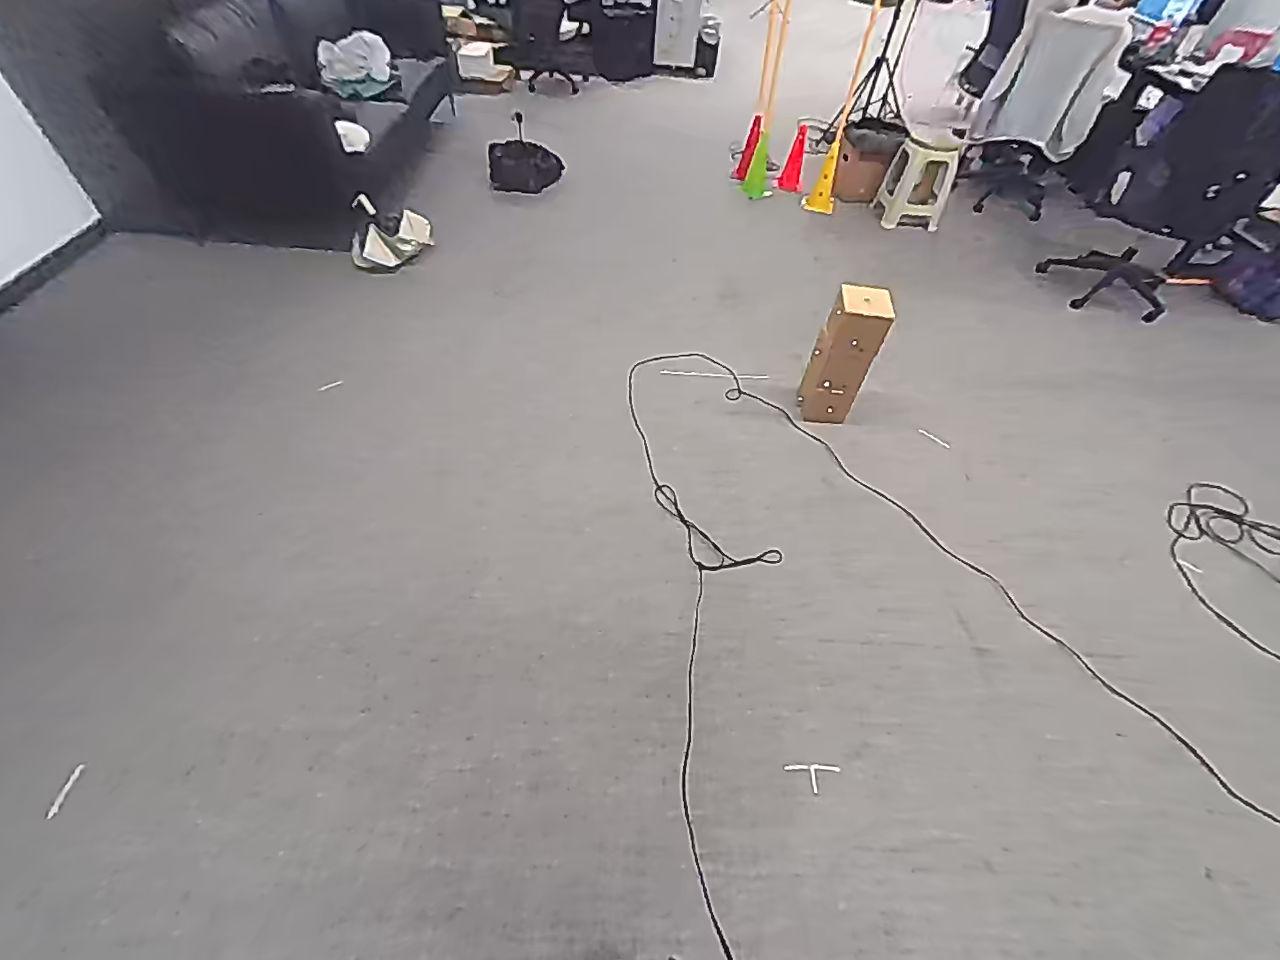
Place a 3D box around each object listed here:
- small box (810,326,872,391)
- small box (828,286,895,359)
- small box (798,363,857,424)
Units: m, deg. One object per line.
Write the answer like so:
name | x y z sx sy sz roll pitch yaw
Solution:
small box | 0.755 -0.454 2.035 0.168 0.176 0.179 5 50 0
small box | 0.773 -0.554 1.908 0.168 0.176 0.179 9 51 3
small box | 0.742 -0.343 2.156 0.168 0.176 0.179 5 51 -1
